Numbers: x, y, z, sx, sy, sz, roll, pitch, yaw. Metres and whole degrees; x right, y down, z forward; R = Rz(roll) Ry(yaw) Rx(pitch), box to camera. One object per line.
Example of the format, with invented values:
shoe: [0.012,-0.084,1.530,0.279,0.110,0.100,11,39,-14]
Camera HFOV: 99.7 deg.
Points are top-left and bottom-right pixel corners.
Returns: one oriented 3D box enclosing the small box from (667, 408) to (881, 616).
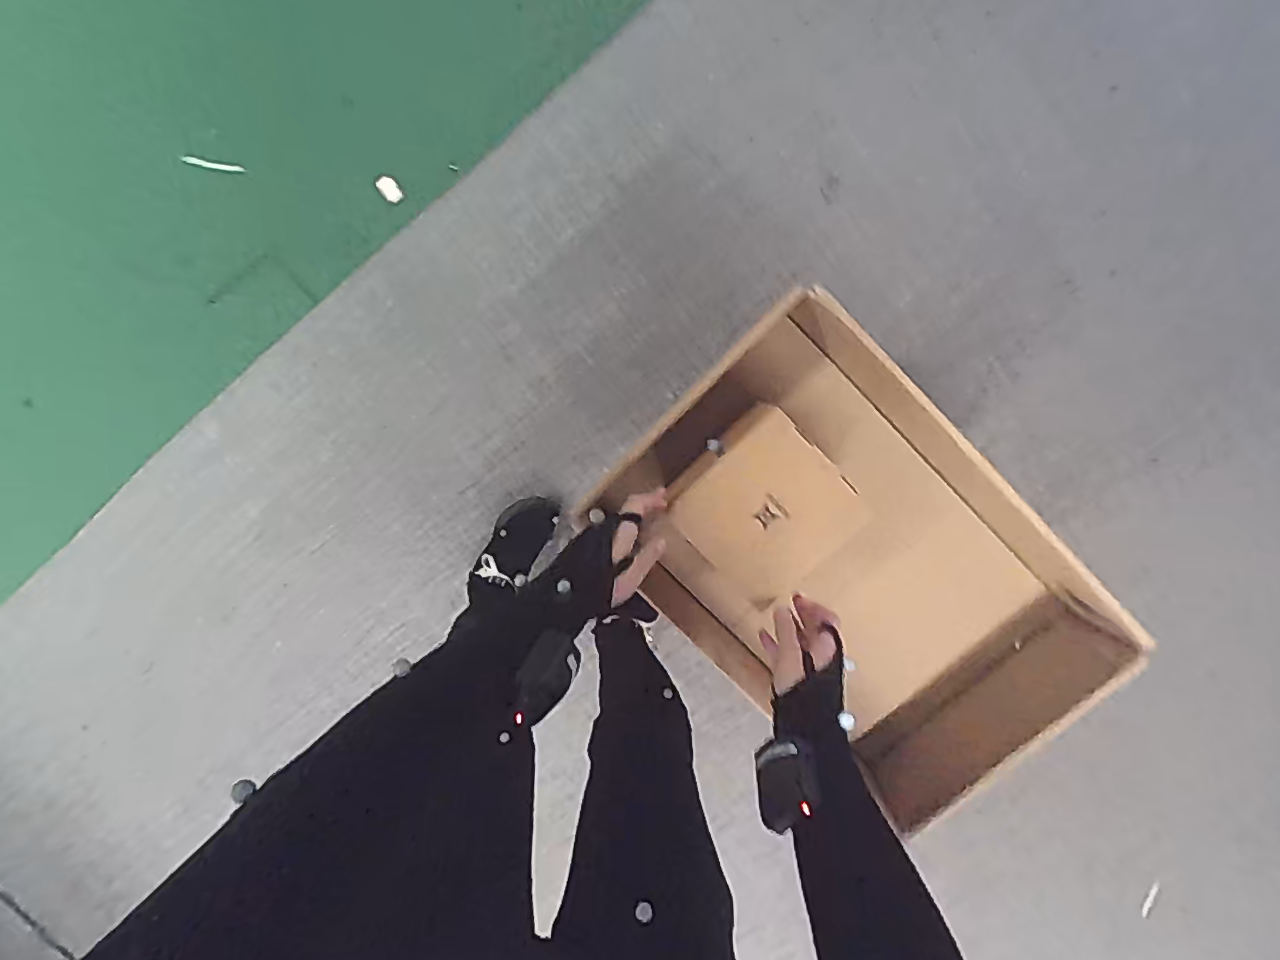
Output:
small box: [0.153,0.029,0.673,0.179,0.176,0.168,-44,93,8]
